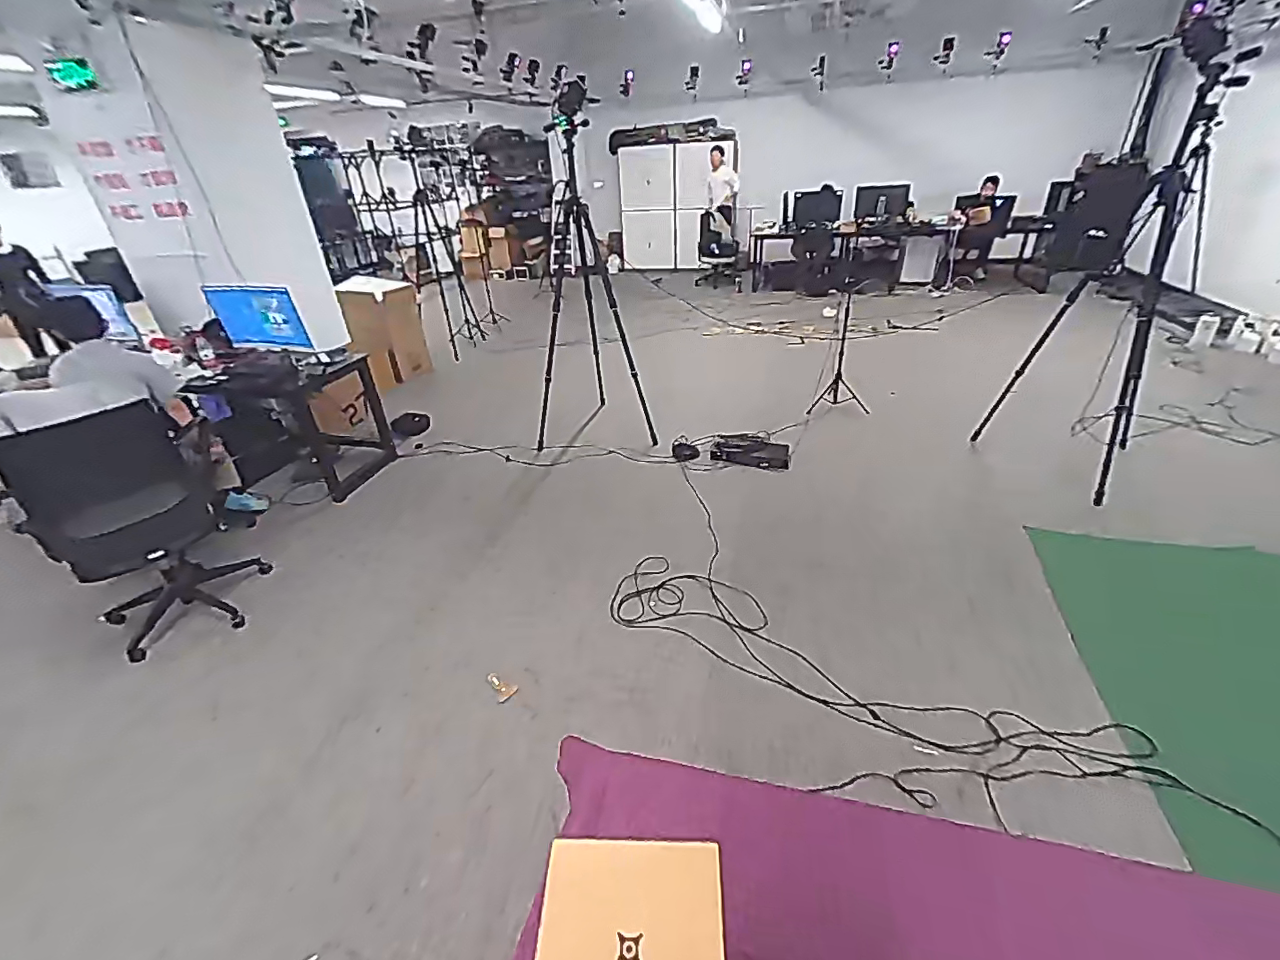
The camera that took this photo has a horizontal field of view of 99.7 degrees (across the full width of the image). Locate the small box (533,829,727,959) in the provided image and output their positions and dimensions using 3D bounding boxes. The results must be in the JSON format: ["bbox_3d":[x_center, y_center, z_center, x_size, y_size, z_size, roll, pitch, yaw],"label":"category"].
[{"bbox_3d":[-0.002,0.458,0.507,0.168,0.176,0.179,-3,40,6],"label":"small box"}]
